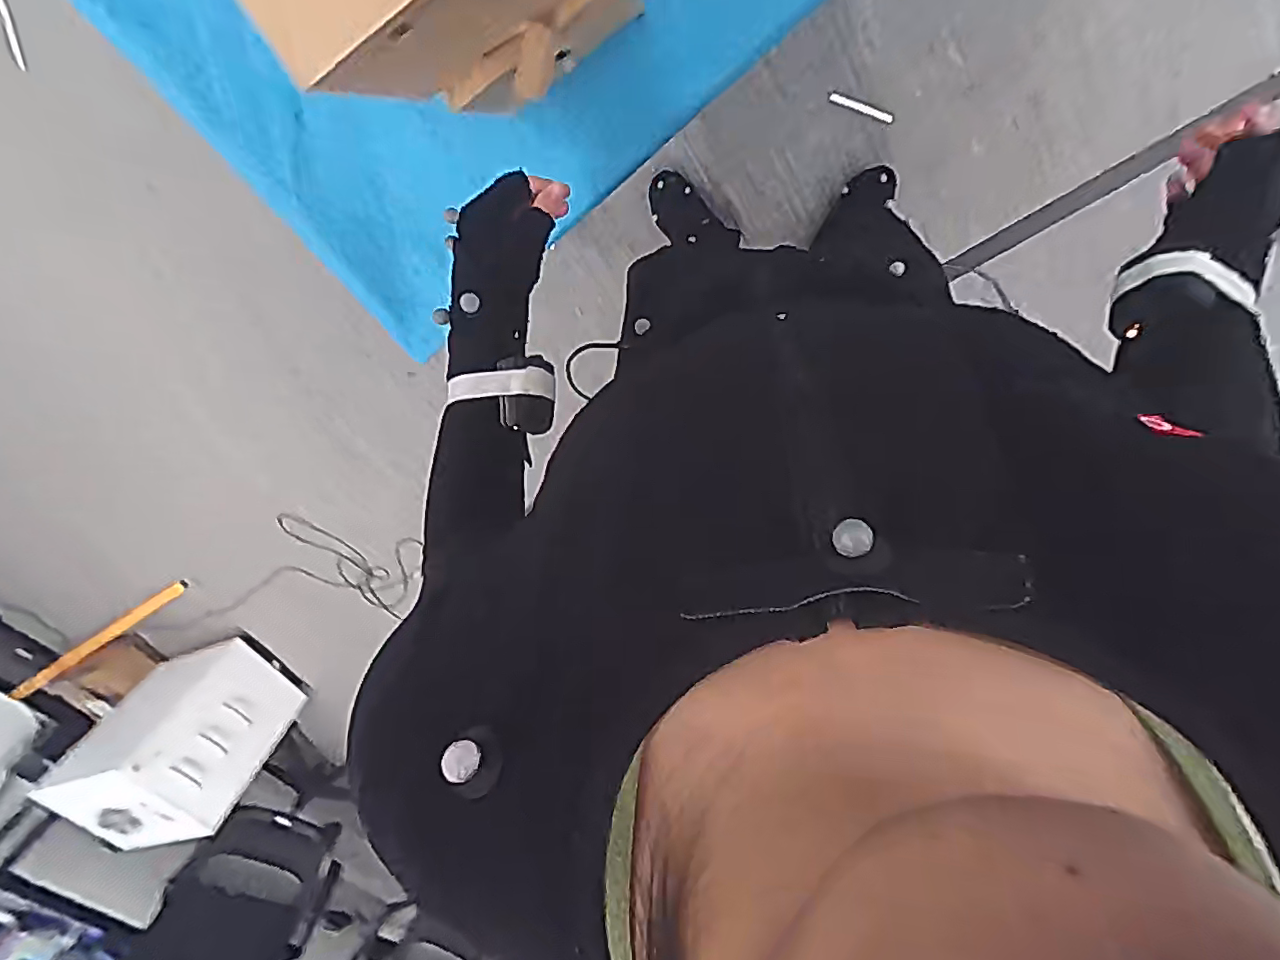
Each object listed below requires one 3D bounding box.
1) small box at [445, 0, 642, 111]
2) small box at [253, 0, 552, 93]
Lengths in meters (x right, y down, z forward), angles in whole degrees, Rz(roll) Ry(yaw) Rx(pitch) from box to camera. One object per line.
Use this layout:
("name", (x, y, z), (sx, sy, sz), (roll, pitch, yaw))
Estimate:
("small box", (-0.118, -0.439, 0.438), (0.168, 0.176, 0.179), (-26, 117, 20))
("small box", (-0.146, -0.354, 0.299), (0.168, 0.176, 0.179), (-22, 120, 19))
